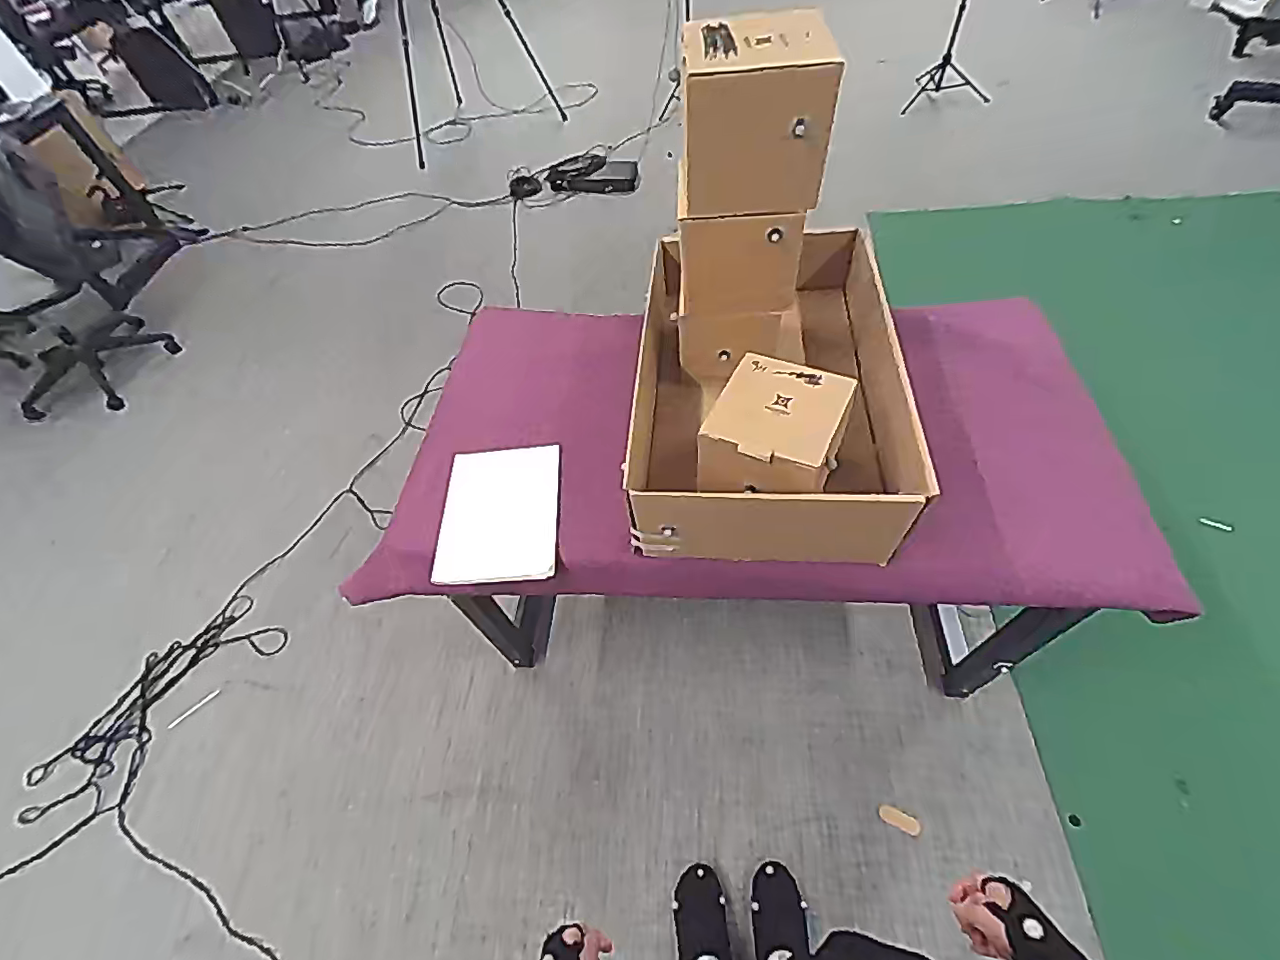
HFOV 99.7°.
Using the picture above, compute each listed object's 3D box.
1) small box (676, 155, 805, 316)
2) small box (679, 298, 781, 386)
[{"bbox_3d":[0.150,-0.373,0.841,0.179,0.176,0.168,-1,56,6],"label":"small box"},{"bbox_3d":[0.161,-0.284,0.976,0.168,0.176,0.179,1,56,8],"label":"small box"}]
